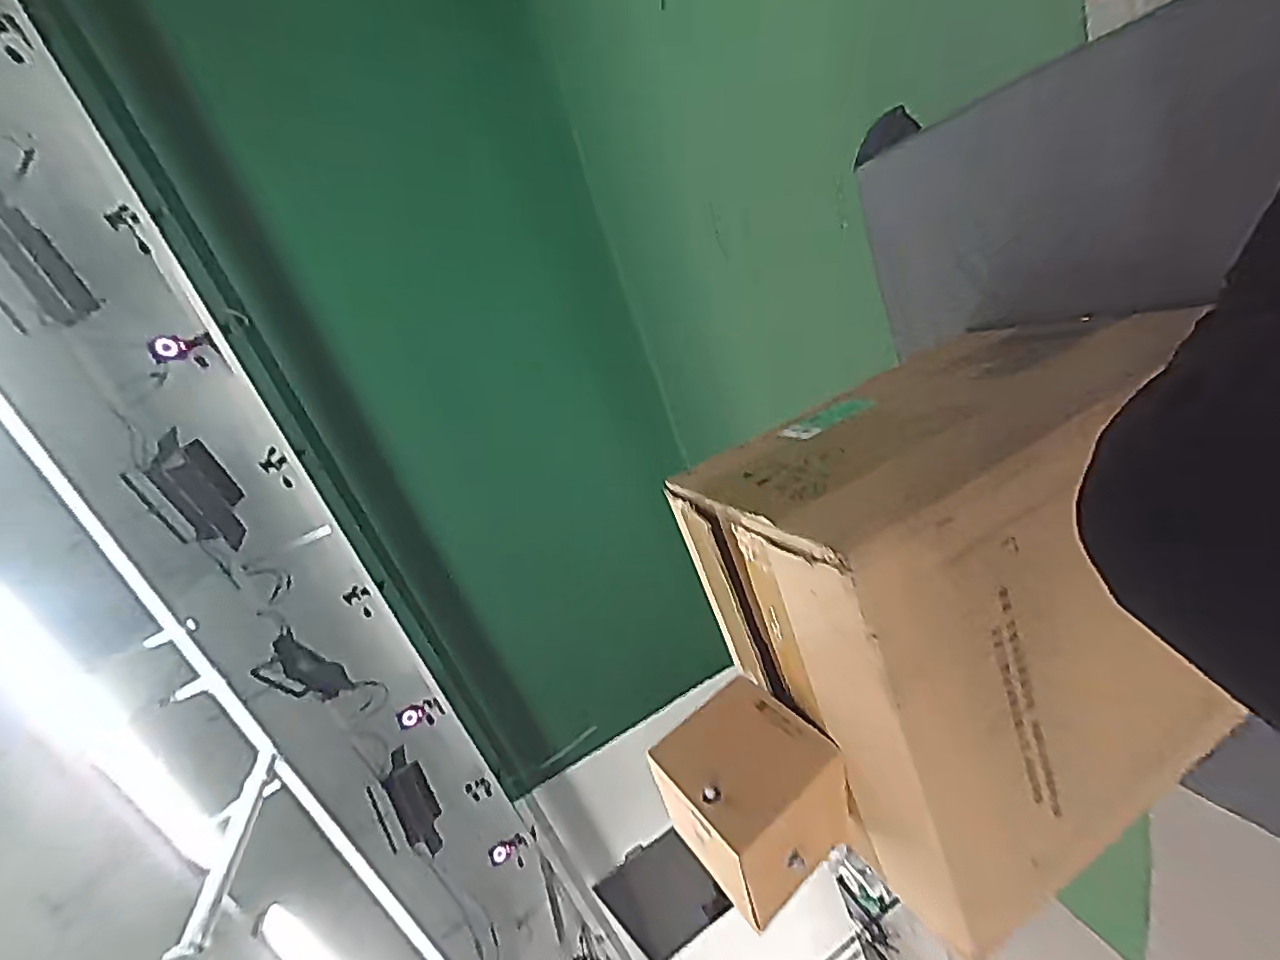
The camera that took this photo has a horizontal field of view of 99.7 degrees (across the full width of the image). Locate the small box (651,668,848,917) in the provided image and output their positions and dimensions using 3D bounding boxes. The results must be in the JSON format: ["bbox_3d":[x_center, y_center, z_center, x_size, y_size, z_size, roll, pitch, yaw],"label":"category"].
[{"bbox_3d":[0.144,0.382,0.687,0.168,0.176,0.179,25,139,51],"label":"small box"}]
